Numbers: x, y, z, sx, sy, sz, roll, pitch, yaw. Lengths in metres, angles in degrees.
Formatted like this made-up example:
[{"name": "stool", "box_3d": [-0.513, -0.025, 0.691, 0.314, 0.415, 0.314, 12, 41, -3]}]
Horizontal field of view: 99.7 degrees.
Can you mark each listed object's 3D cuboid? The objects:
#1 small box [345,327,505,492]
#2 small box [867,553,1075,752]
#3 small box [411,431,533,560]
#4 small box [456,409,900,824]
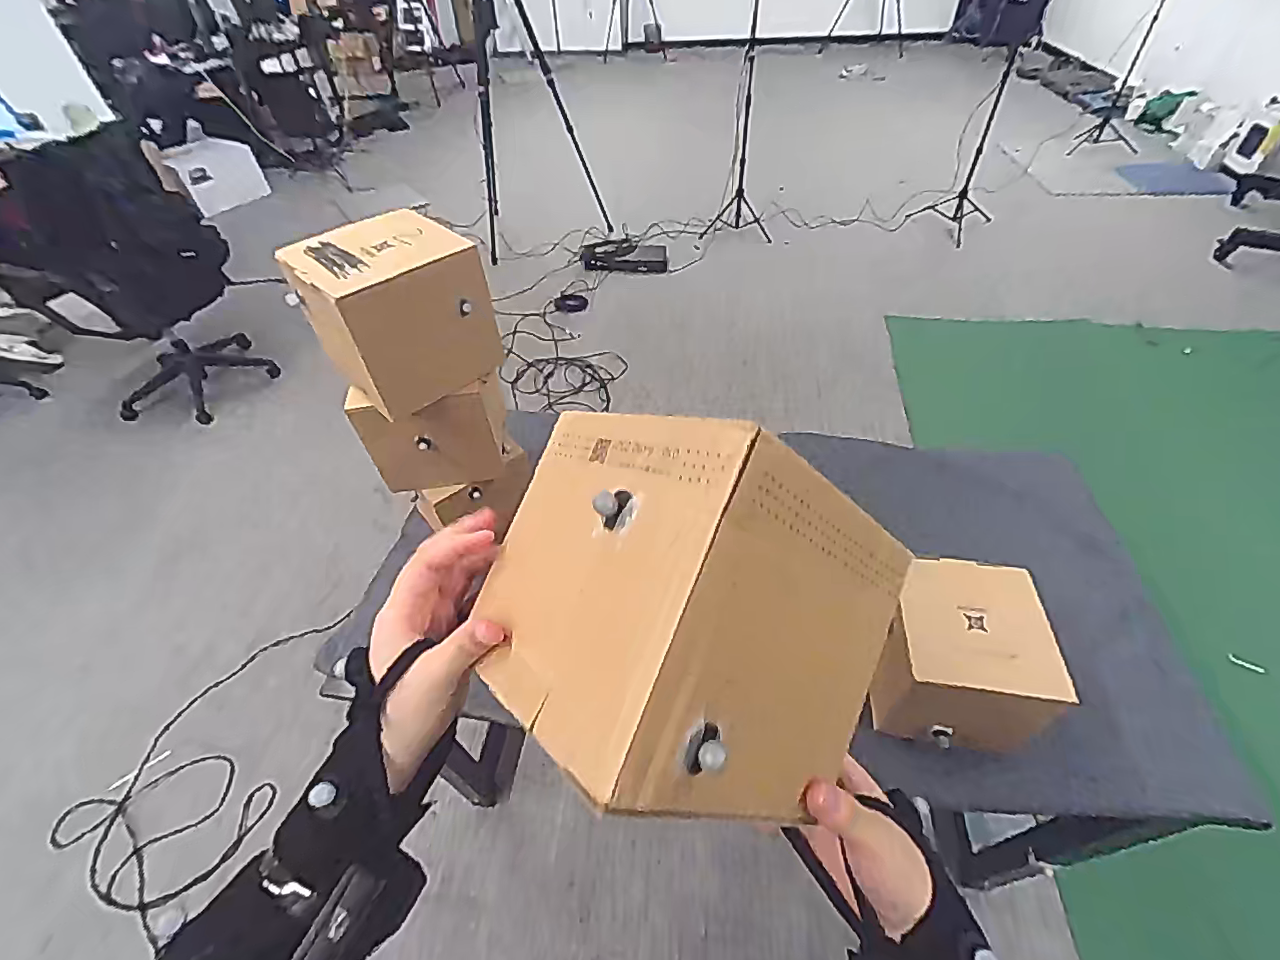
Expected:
[{"name": "small box", "box_3d": [-0.306, -0.103, 0.814, 0.179, 0.176, 0.168, -9, 48, -5]}, {"name": "small box", "box_3d": [0.396, 0.219, 0.694, 0.168, 0.176, 0.179, 5, 47, 9]}, {"name": "small box", "box_3d": [-0.298, 0.005, 0.938, 0.168, 0.176, 0.179, -34, 54, -25]}, {"name": "small box", "box_3d": [0.027, 0.073, 0.329, 0.168, 0.179, 0.176, 13, 77, 52]}]
